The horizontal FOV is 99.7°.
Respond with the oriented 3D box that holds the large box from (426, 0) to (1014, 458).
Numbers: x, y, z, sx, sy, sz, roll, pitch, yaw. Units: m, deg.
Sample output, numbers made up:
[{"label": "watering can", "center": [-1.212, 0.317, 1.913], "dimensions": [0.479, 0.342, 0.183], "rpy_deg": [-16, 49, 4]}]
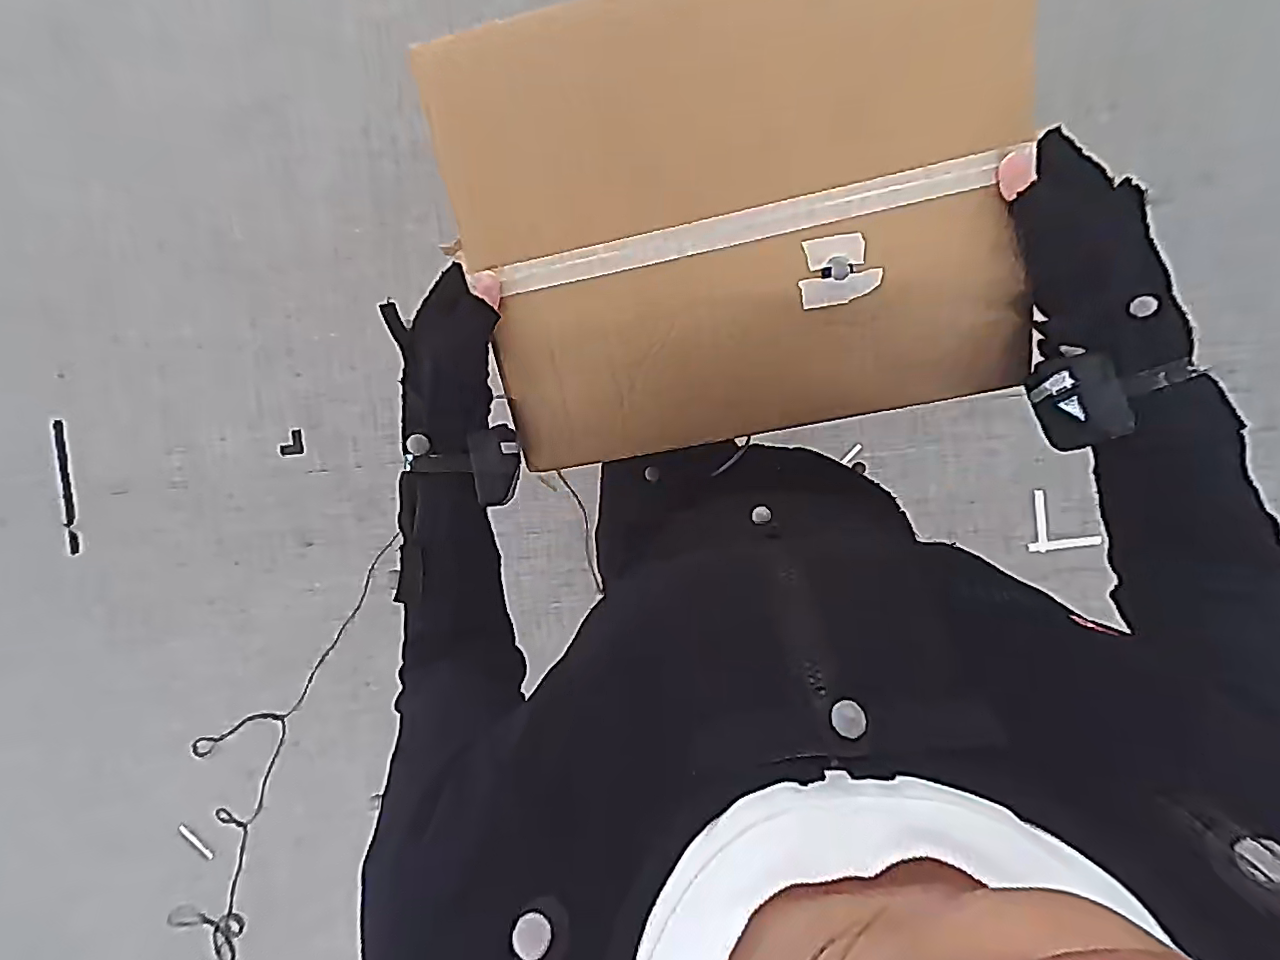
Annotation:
[{"label": "large box", "center": [0.075, -0.244, 0.547], "dimensions": [0.408, 0.320, 0.320], "rpy_deg": [-11, 109, 6]}]
